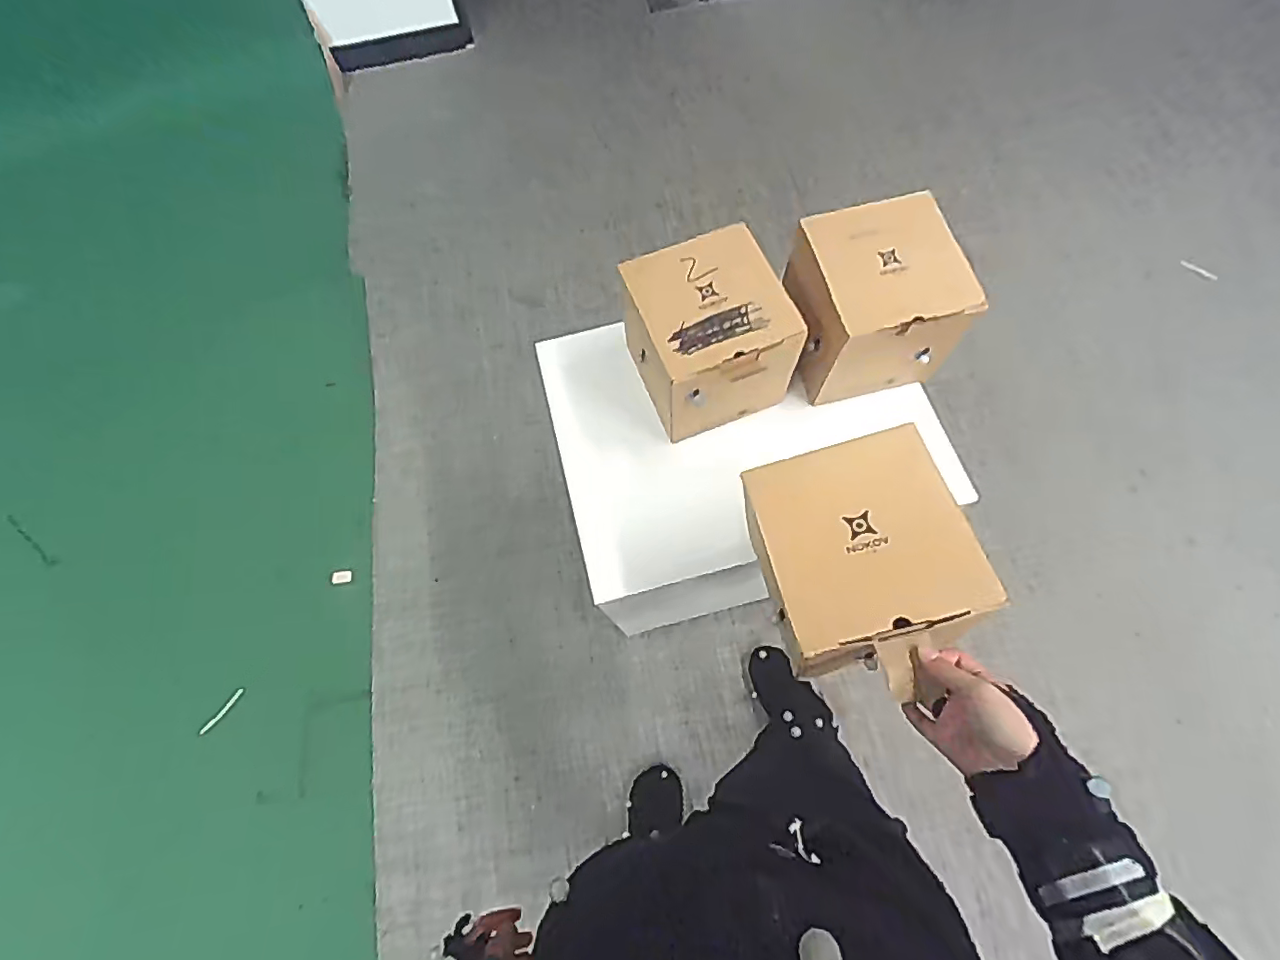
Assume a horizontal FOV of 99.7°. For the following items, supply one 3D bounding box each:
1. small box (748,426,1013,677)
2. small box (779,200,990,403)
[{"bbox_3d":[0.211,0.079,0.534,0.168,0.176,0.179,-17,62,6],"label":"small box"},{"bbox_3d":[0.295,-0.216,0.698,0.168,0.176,0.179,-13,69,-2],"label":"small box"}]
